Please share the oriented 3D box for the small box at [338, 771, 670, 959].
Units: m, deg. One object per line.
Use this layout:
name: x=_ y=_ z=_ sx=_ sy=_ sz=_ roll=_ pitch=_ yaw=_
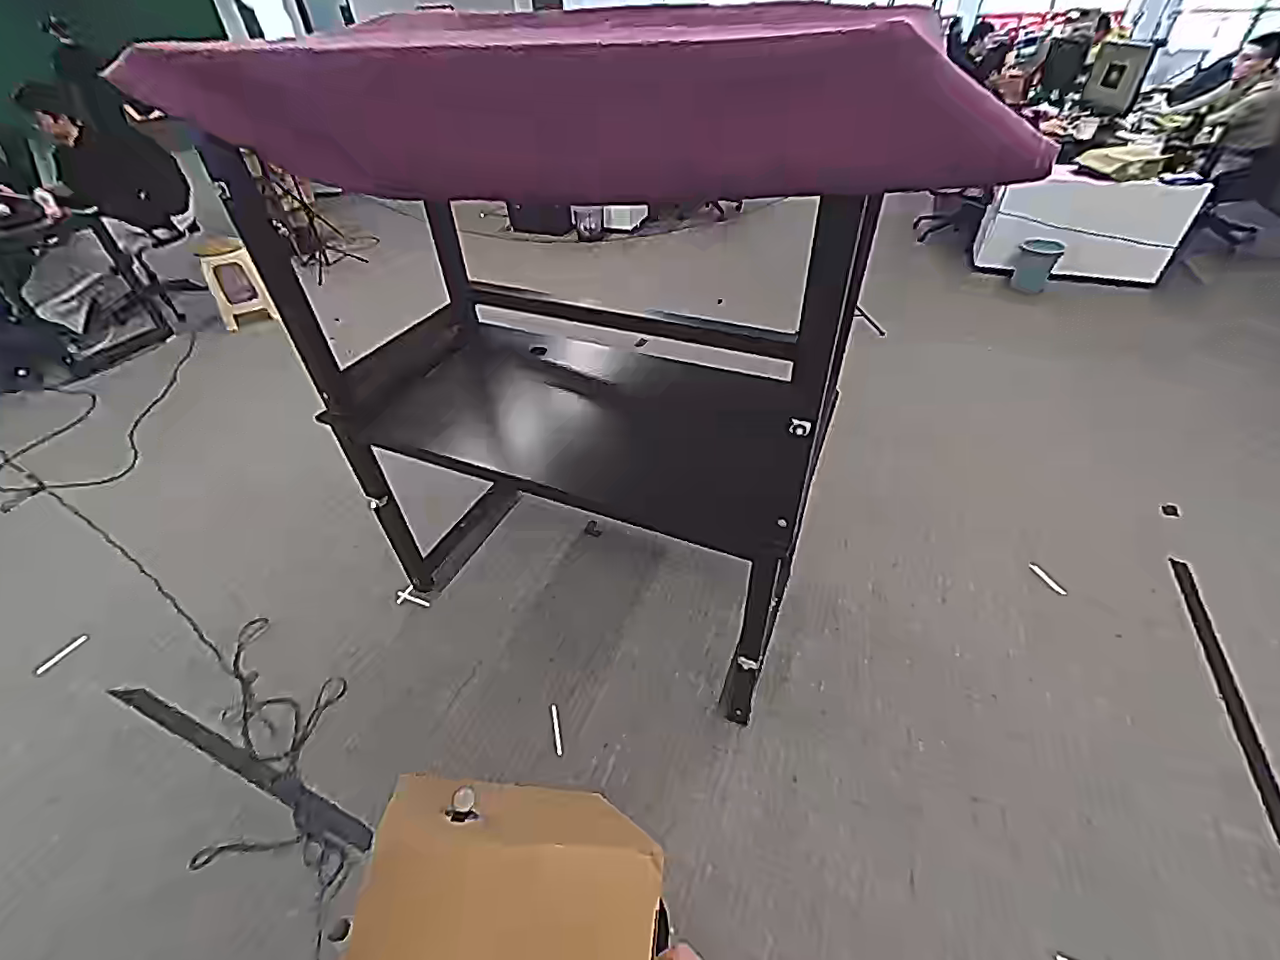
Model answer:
small box: x=-0.099 y=0.304 z=0.359 sx=0.179 sy=0.176 sz=0.168 roll=15 pitch=68 yaw=-15
